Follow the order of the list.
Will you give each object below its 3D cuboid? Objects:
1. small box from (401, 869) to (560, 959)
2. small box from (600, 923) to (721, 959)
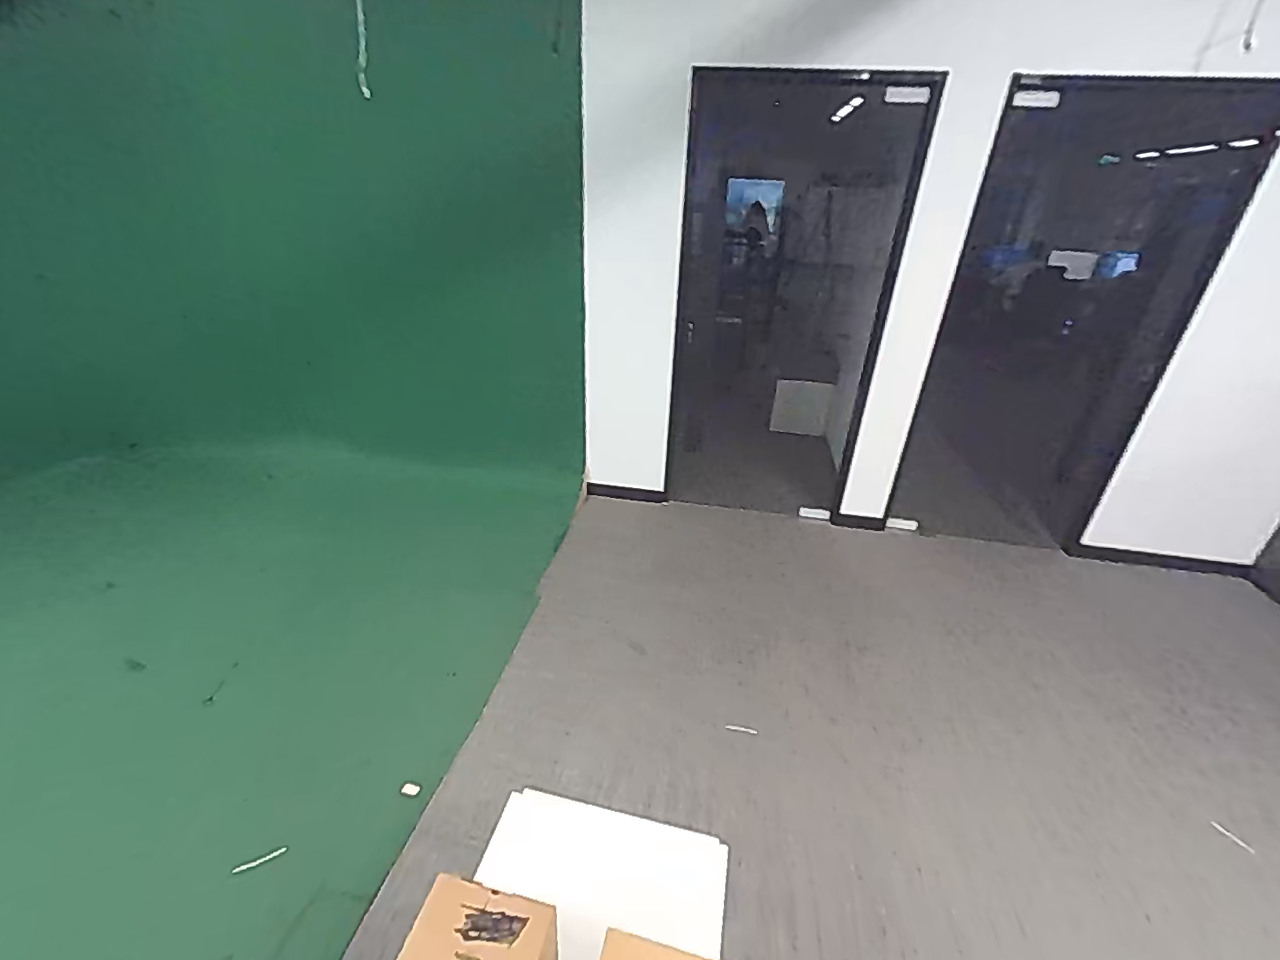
[{"bbox_3d":[-0.206,0.644,0.680,0.168,0.176,0.179,8,30,9],"label":"small box"},{"bbox_3d":[0.014,0.680,0.629,0.168,0.176,0.179,8,29,12],"label":"small box"}]
